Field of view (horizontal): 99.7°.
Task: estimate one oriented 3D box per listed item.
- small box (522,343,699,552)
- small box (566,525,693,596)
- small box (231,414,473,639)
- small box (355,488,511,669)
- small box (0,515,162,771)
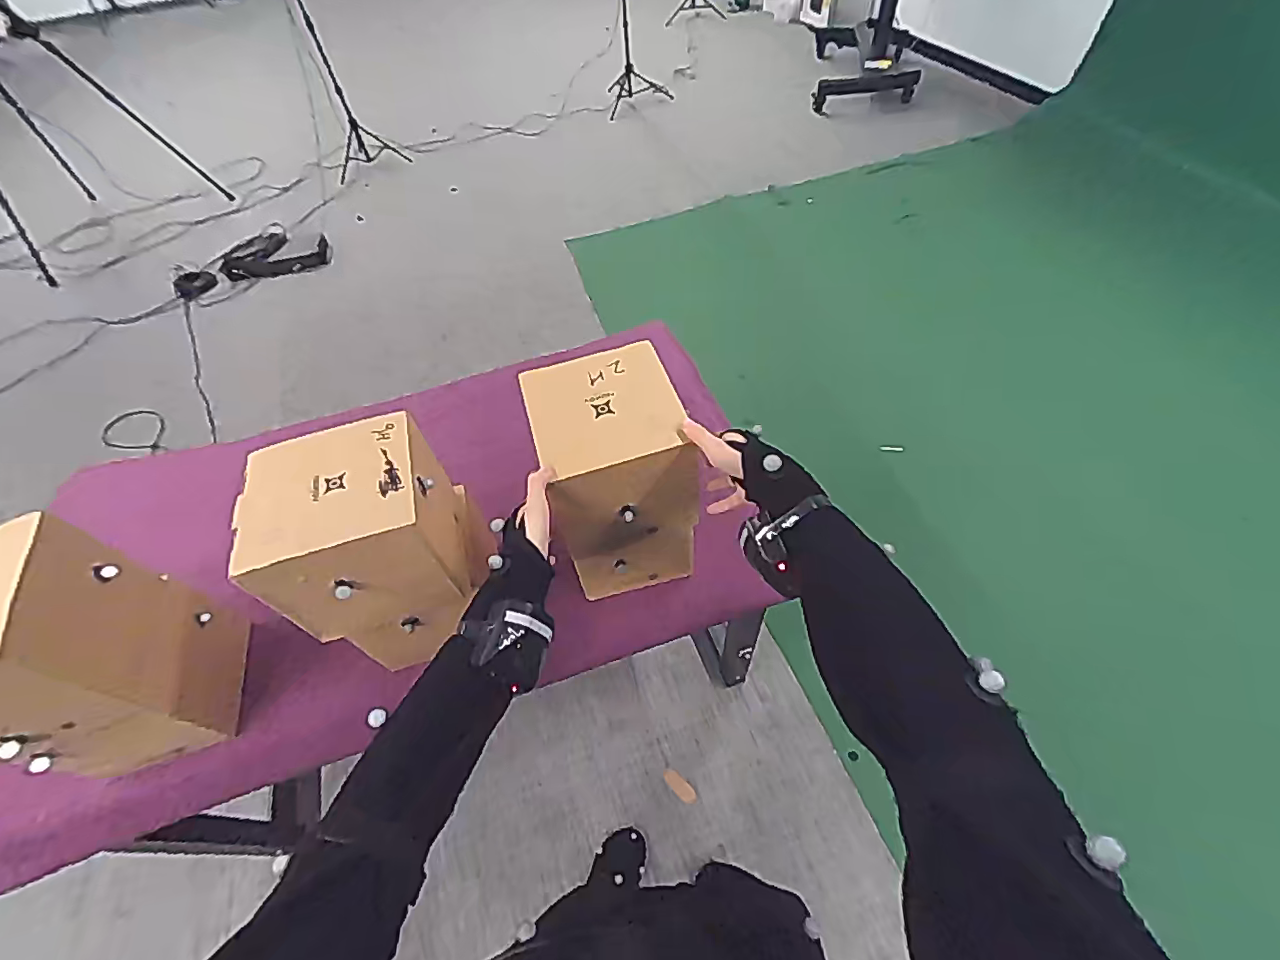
[{"bbox_3d":[-0.031,-0.030,0.658,0.168,0.176,0.179,-16,53,-6],"label":"small box"},{"bbox_3d":[-0.020,0.055,0.799,0.168,0.176,0.179,-13,53,-4],"label":"small box"},{"bbox_3d":[-0.310,0.058,0.615,0.179,0.176,0.168,-17,54,-7],"label":"small box"},{"bbox_3d":[-0.295,0.143,0.756,0.179,0.176,0.168,-15,53,-8],"label":"small box"},{"bbox_3d":[-0.649,0.172,0.559,0.168,0.176,0.179,-21,54,-11],"label":"small box"}]
